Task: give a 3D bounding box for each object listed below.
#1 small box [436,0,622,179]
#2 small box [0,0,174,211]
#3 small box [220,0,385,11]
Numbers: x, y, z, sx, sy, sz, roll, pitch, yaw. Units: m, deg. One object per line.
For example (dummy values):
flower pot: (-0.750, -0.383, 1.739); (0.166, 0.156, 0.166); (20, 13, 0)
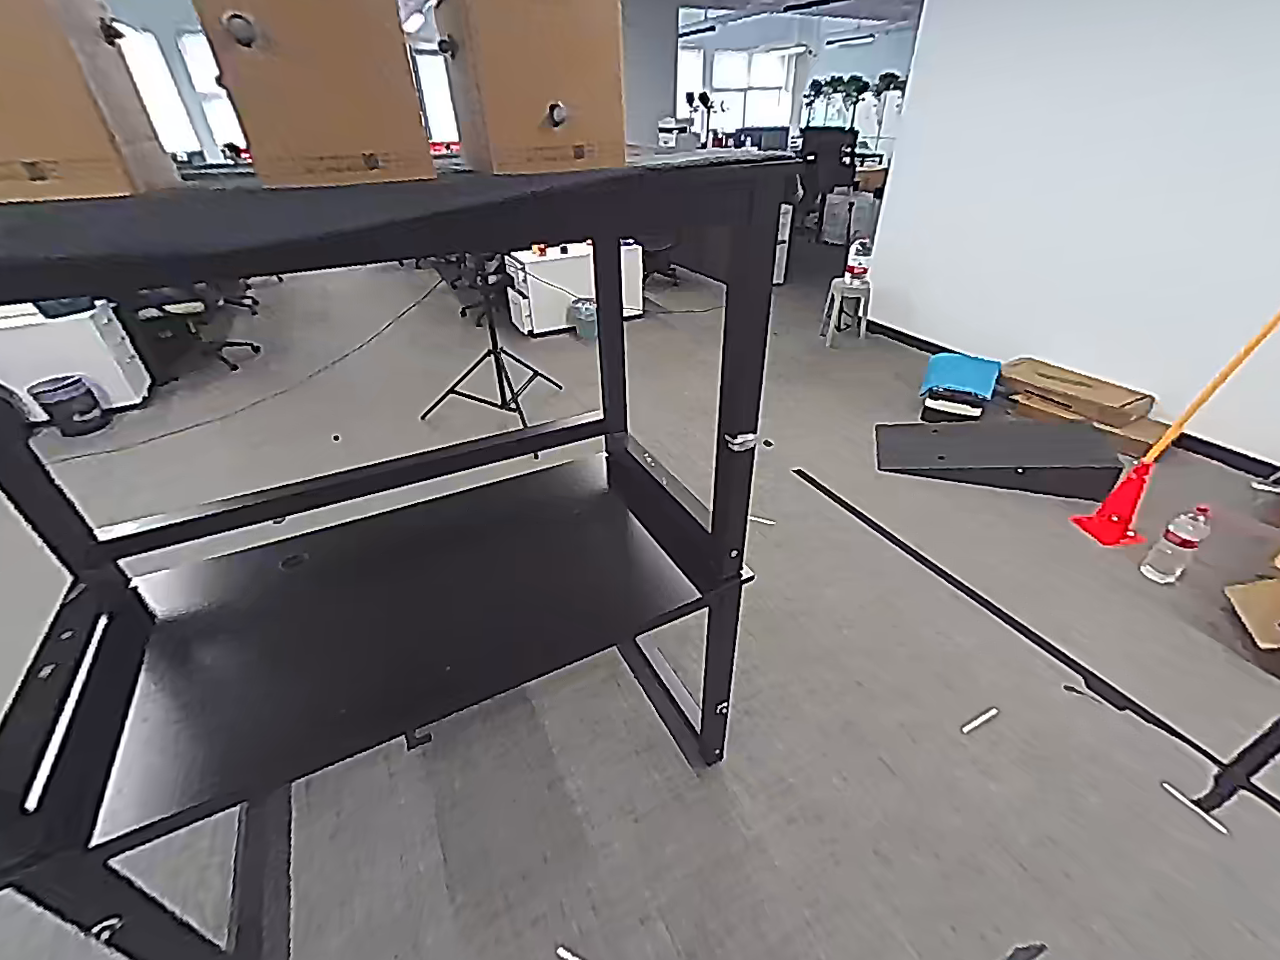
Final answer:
small box: (-0.131, -0.462, 0.646); (0.168, 0.176, 0.179); (-17, 36, -20)
small box: (-0.569, -0.340, 0.486); (0.168, 0.176, 0.179); (-15, 35, -20)
small box: (-0.336, -0.545, 0.488); (0.168, 0.176, 0.179); (-18, 36, -21)
